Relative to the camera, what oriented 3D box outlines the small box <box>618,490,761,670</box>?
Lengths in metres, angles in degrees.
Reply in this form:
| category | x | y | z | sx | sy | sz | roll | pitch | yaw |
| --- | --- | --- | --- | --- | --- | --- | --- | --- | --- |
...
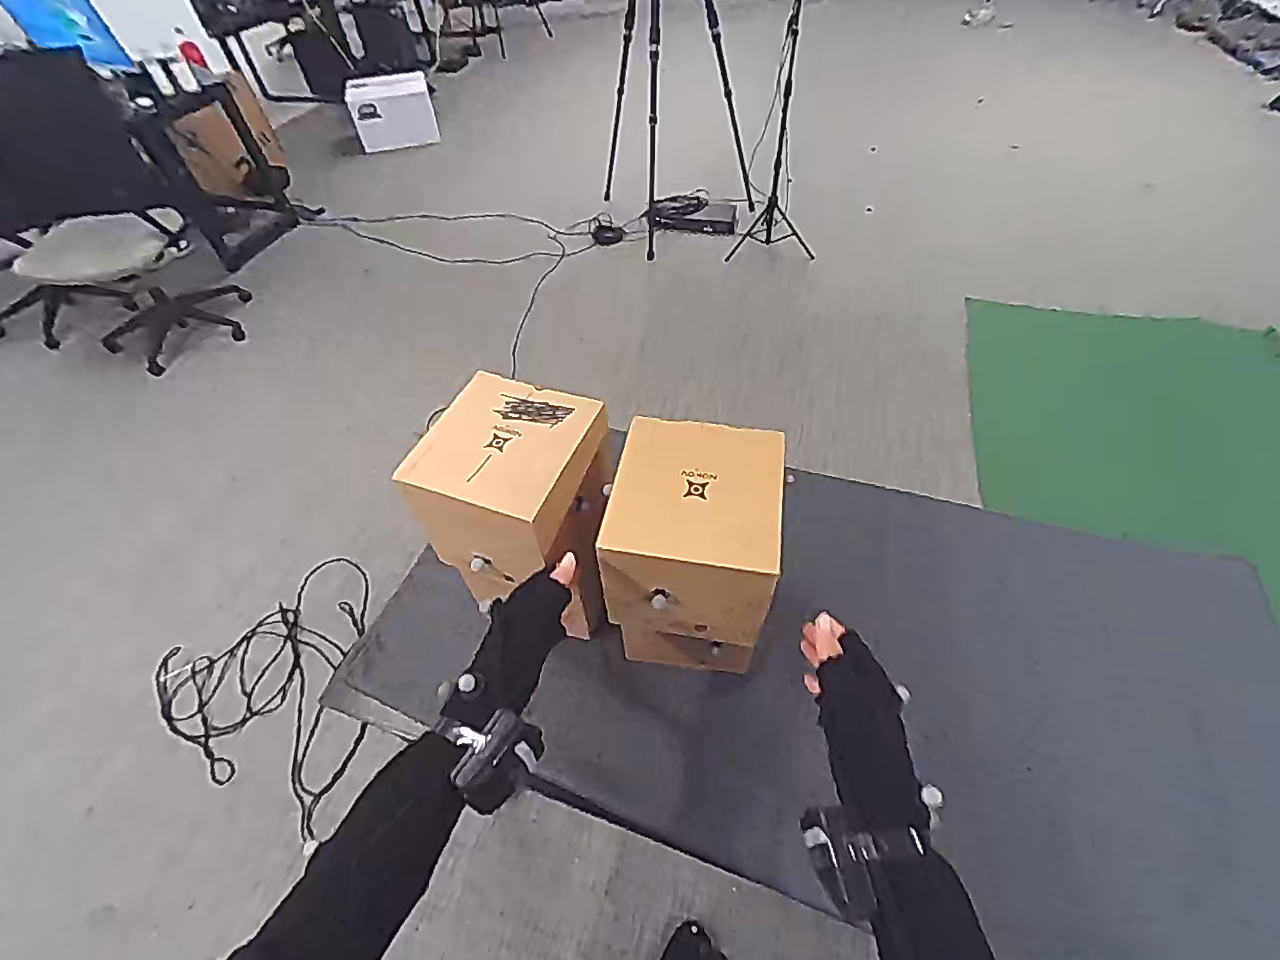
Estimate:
| category | x | y | z | sx | sy | sz | roll | pitch | yaw |
| --- | --- | --- | --- | --- | --- | --- | --- | --- | --- |
| small box | 0.070 | 0.138 | 0.732 | 0.168 | 0.176 | 0.179 | 6 | 51 | 6 |
